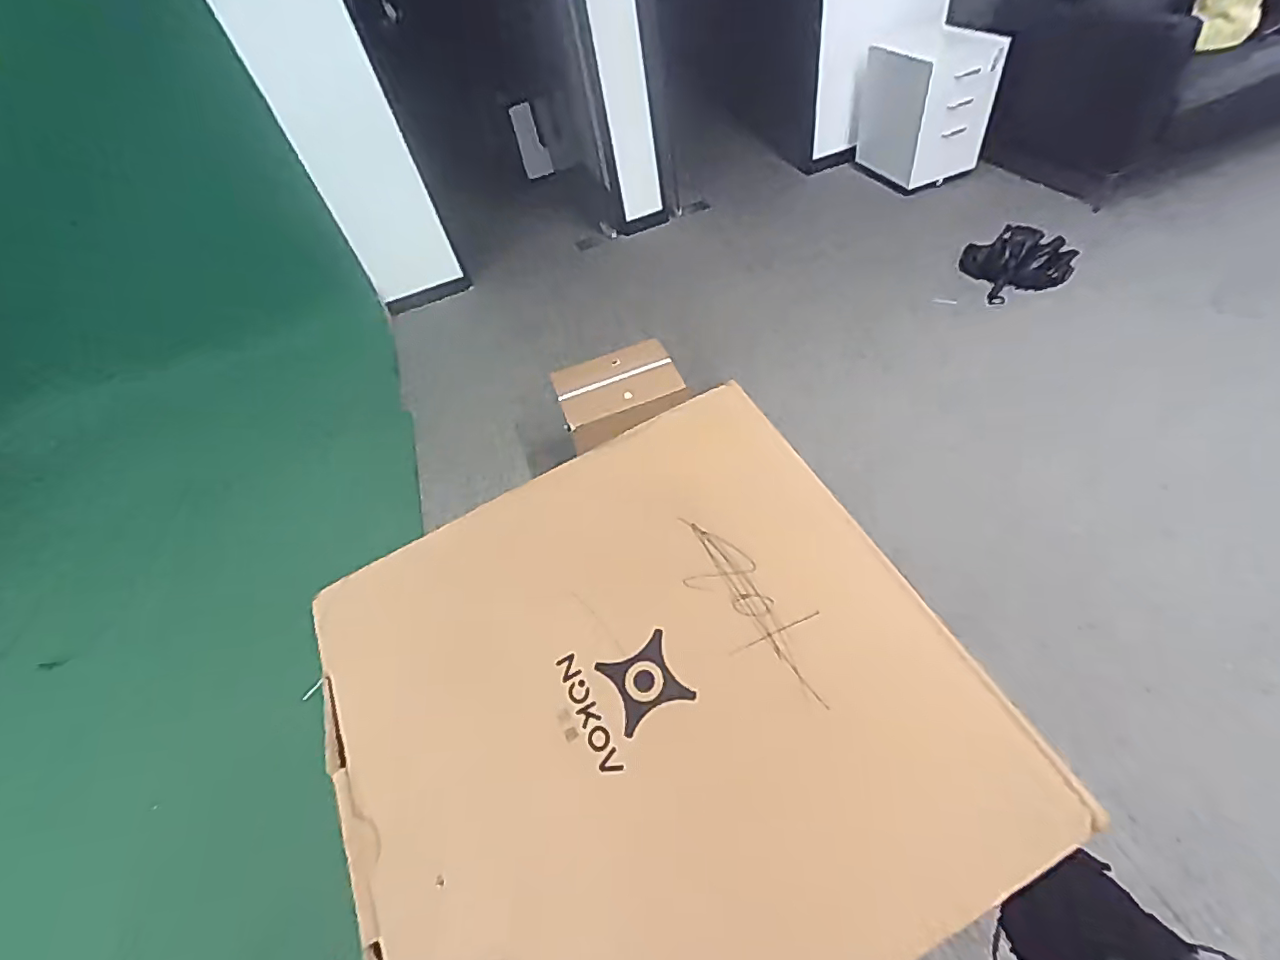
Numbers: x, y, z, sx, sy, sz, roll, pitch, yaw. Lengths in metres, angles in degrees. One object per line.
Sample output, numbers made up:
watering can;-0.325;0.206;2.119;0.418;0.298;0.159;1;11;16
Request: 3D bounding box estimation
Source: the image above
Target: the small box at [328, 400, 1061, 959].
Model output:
small box;0.009;0.105;0.235;0.179;0.176;0.168;-27;60;-8
